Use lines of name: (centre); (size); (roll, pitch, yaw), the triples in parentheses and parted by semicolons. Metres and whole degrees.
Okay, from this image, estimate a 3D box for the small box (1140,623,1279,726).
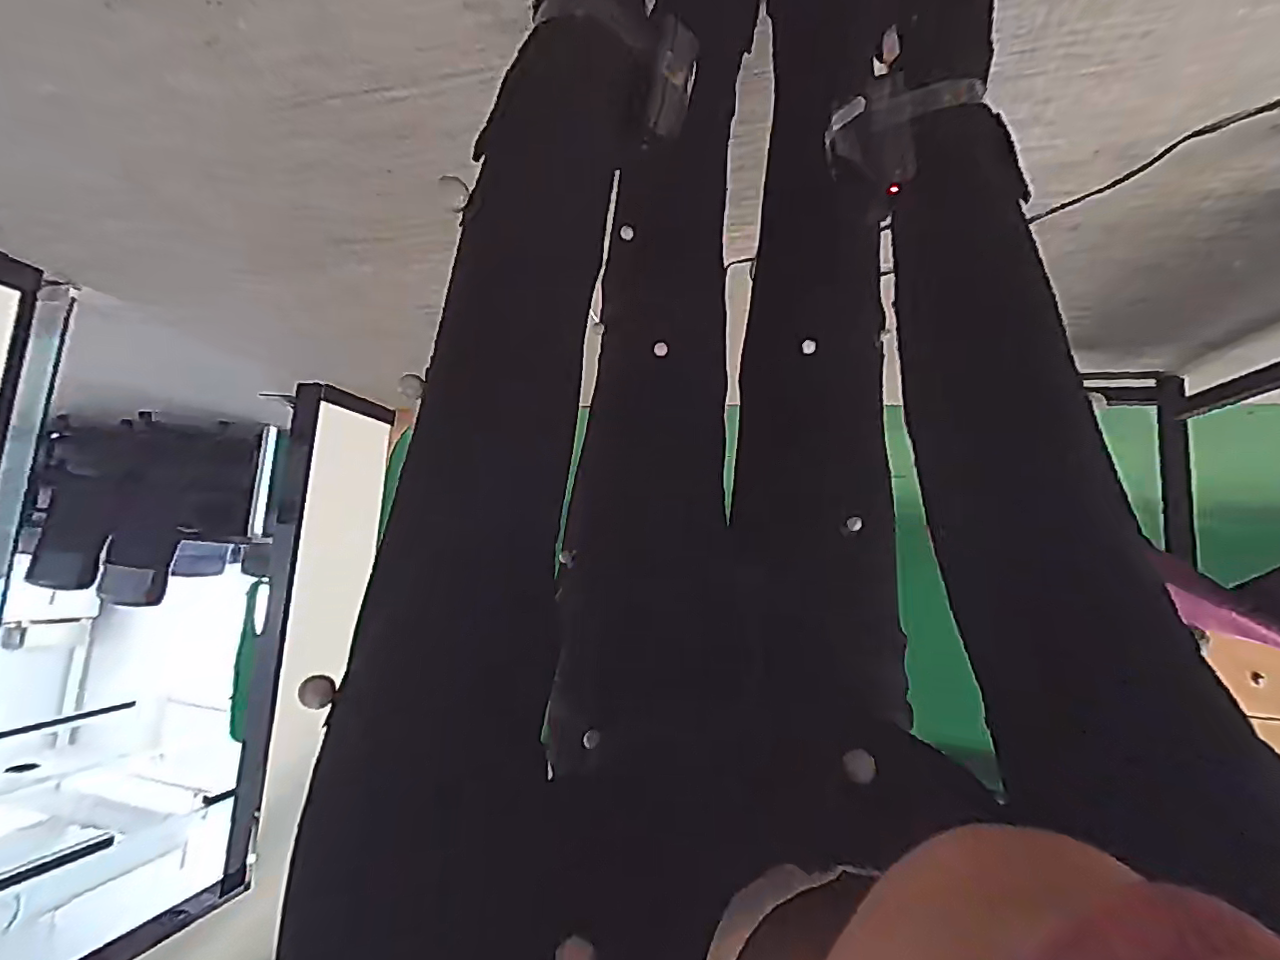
small box: (1.176, 0.388, 1.105); (0.179, 0.176, 0.168); (2, 171, 11)
